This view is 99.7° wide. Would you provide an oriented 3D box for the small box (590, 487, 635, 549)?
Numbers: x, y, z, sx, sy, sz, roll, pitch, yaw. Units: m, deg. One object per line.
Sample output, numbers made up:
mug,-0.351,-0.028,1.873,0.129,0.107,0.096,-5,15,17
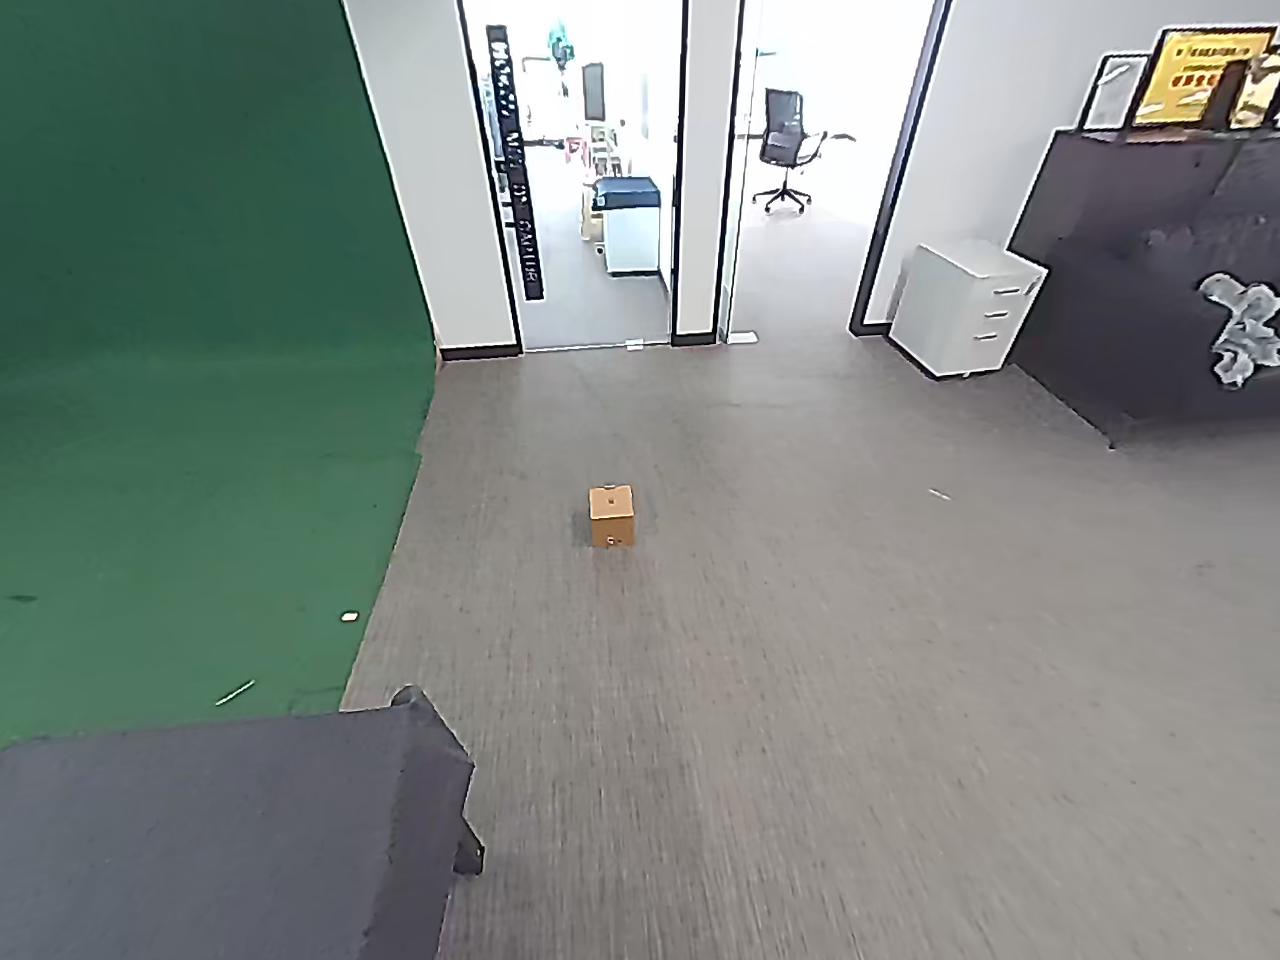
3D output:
small box,-0.107,0.149,2.127,0.168,0.176,0.179,-4,41,-1
